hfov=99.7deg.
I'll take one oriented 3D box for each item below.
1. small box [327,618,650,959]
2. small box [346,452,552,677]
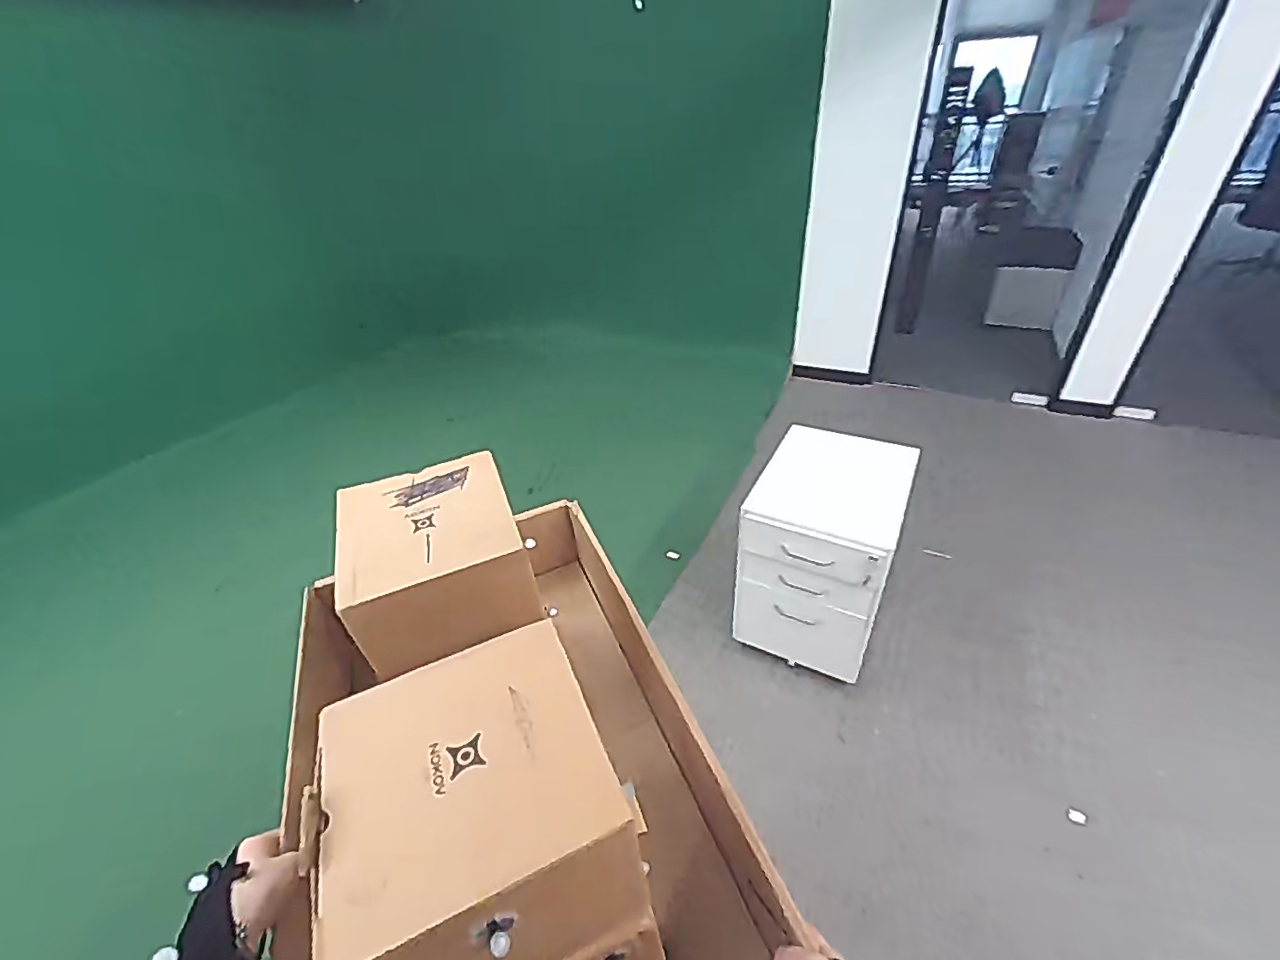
[{"bbox_3d":[-0.104,0.243,0.402,0.179,0.176,0.168,-19,40,-17],"label":"small box"},{"bbox_3d":[-0.200,0.101,0.591,0.168,0.176,0.179,-18,41,-15],"label":"small box"}]
